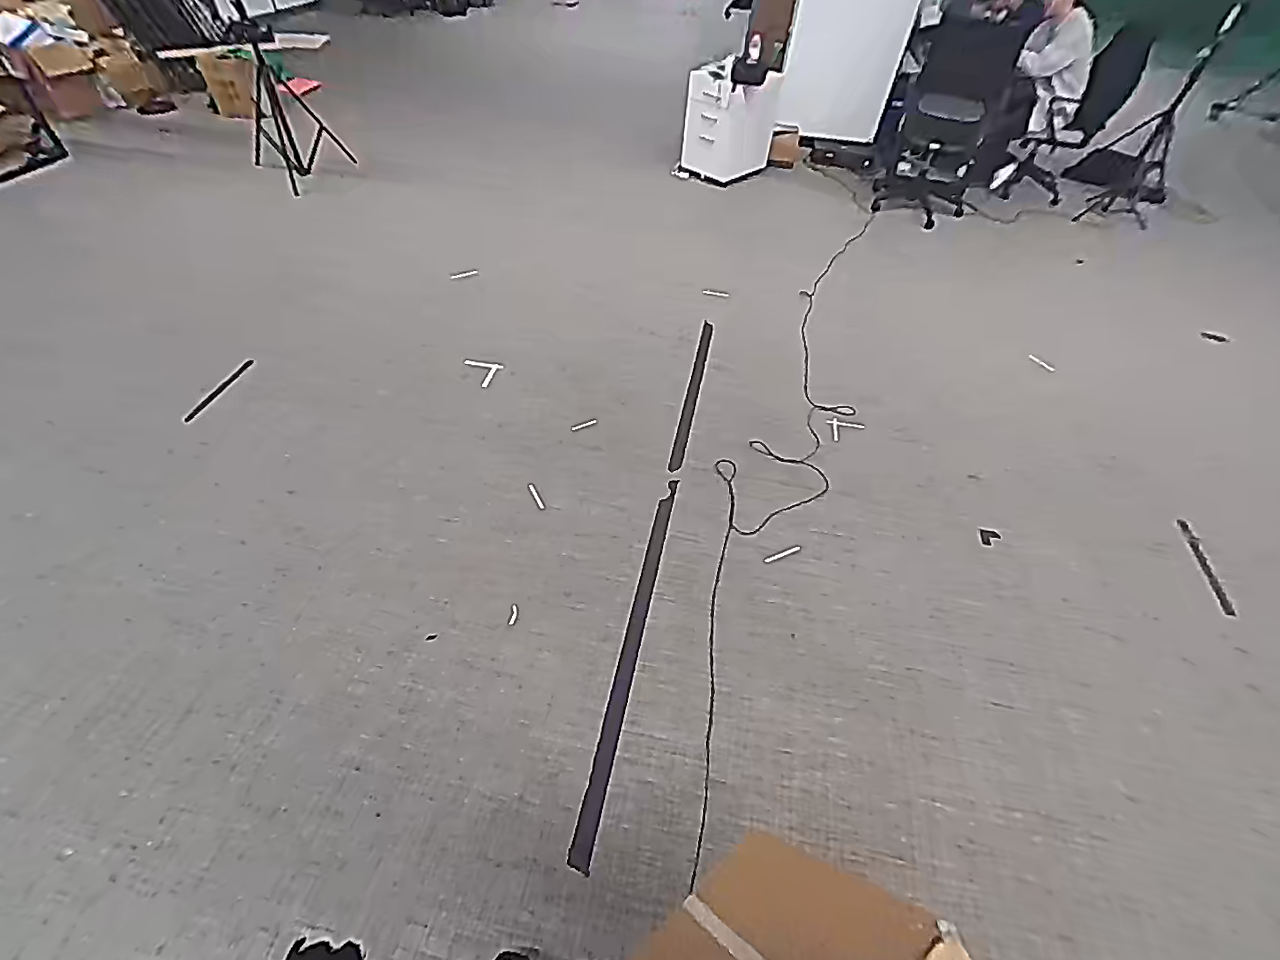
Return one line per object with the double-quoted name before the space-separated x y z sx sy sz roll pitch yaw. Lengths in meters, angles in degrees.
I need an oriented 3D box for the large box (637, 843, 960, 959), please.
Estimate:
"large box" 0.216 0.731 0.647 0.320 0.408 0.320 -29 82 -26
